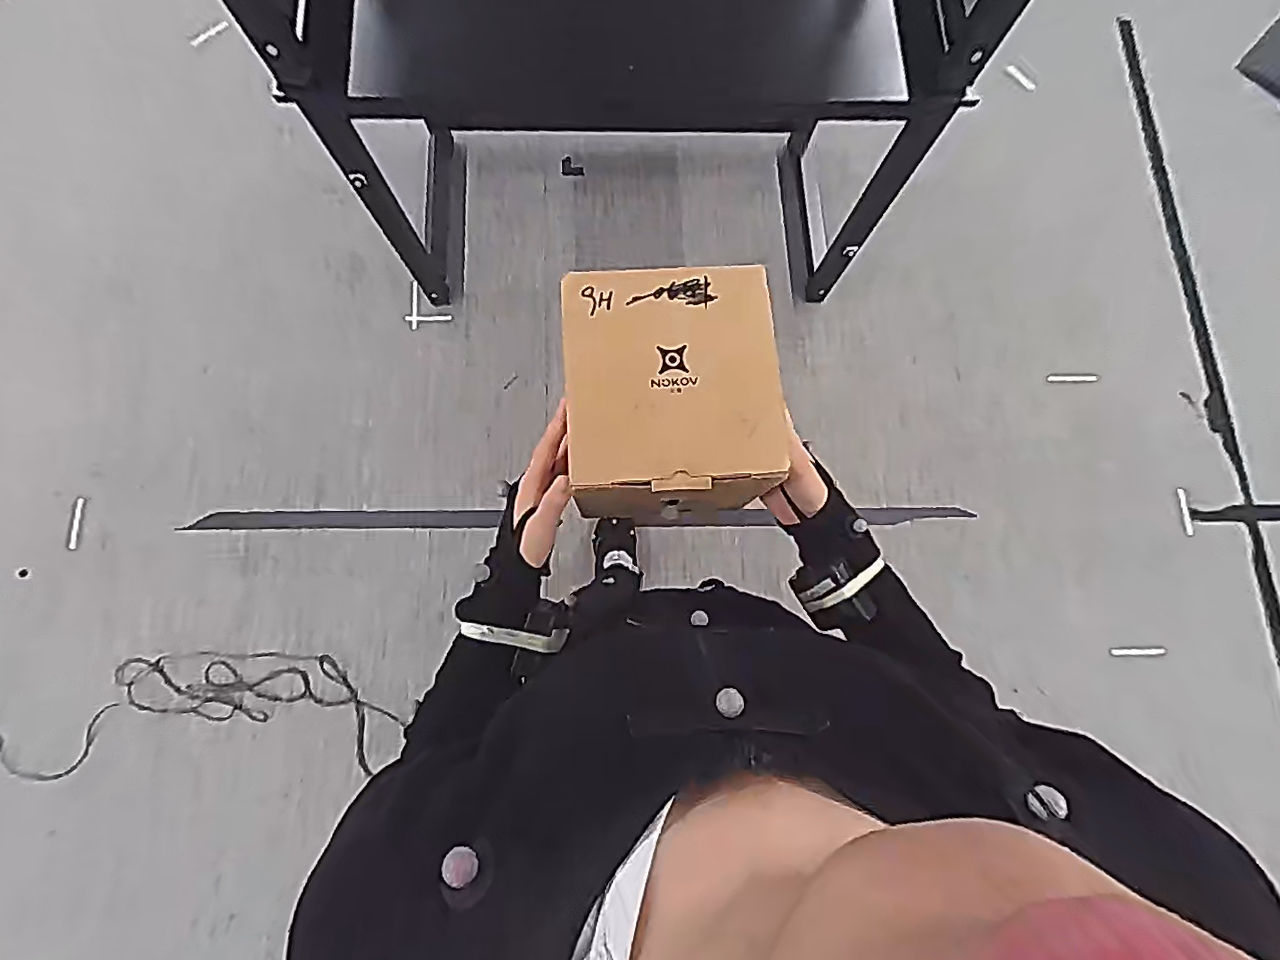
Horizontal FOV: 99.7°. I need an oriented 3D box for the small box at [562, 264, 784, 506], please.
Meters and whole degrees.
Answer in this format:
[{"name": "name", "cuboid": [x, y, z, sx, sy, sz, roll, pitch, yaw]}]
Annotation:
[{"name": "small box", "cuboid": [0.020, -0.071, 0.496, 0.168, 0.176, 0.179, -3, 79, -4]}]
